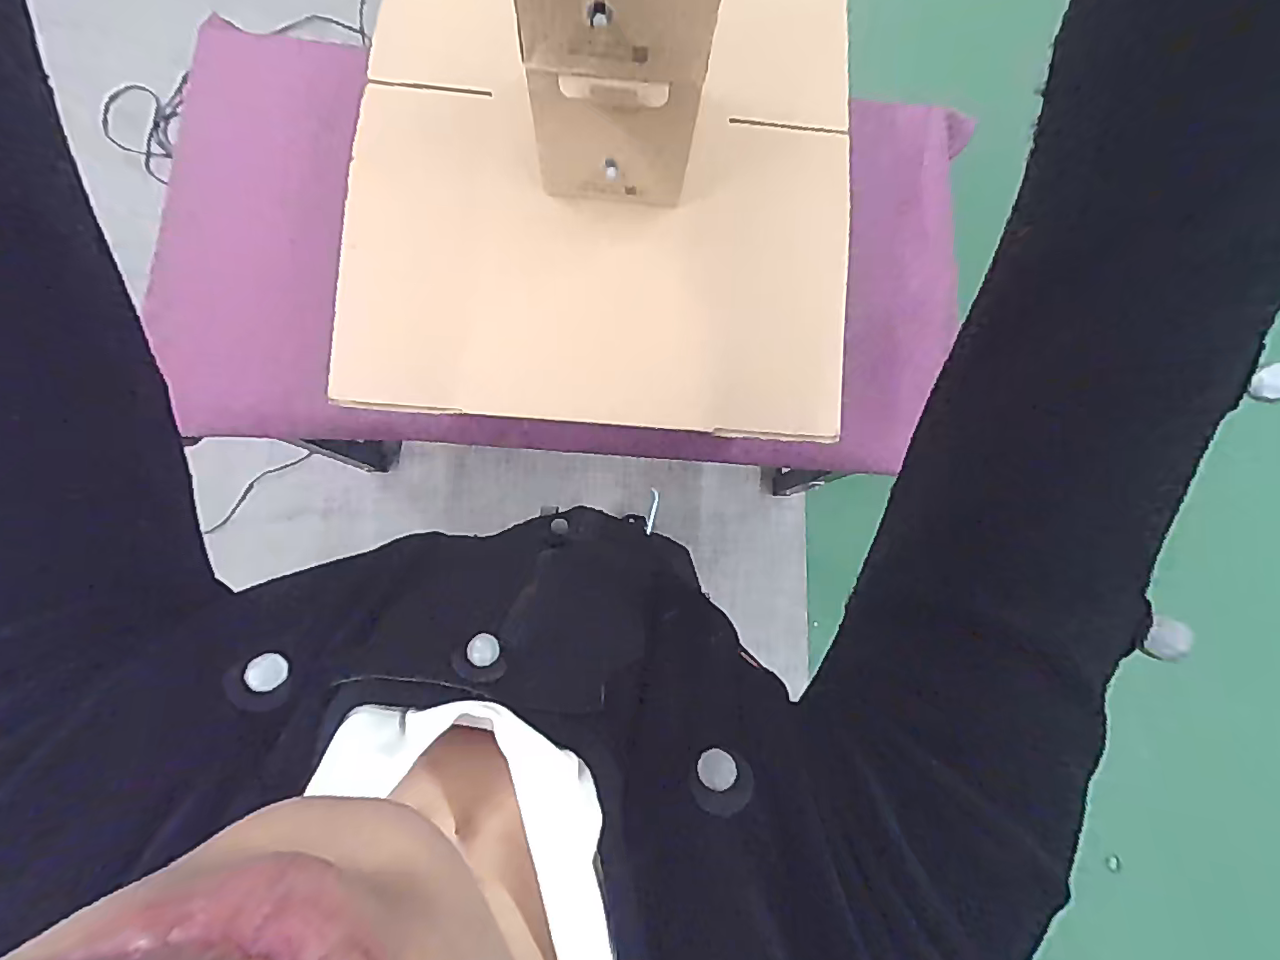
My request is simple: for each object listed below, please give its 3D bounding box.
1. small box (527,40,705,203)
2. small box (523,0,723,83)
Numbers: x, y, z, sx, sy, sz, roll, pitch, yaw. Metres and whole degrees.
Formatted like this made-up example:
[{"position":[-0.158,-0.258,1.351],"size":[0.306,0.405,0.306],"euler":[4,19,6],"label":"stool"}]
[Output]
[{"position":[-0.023,-0.440,0.586],"size":[0.168,0.176,0.179],"euler":[4,80,-4],"label":"small box"},{"position":[-0.010,-0.468,0.426],"size":[0.168,0.176,0.179],"euler":[3,81,-5],"label":"small box"}]
